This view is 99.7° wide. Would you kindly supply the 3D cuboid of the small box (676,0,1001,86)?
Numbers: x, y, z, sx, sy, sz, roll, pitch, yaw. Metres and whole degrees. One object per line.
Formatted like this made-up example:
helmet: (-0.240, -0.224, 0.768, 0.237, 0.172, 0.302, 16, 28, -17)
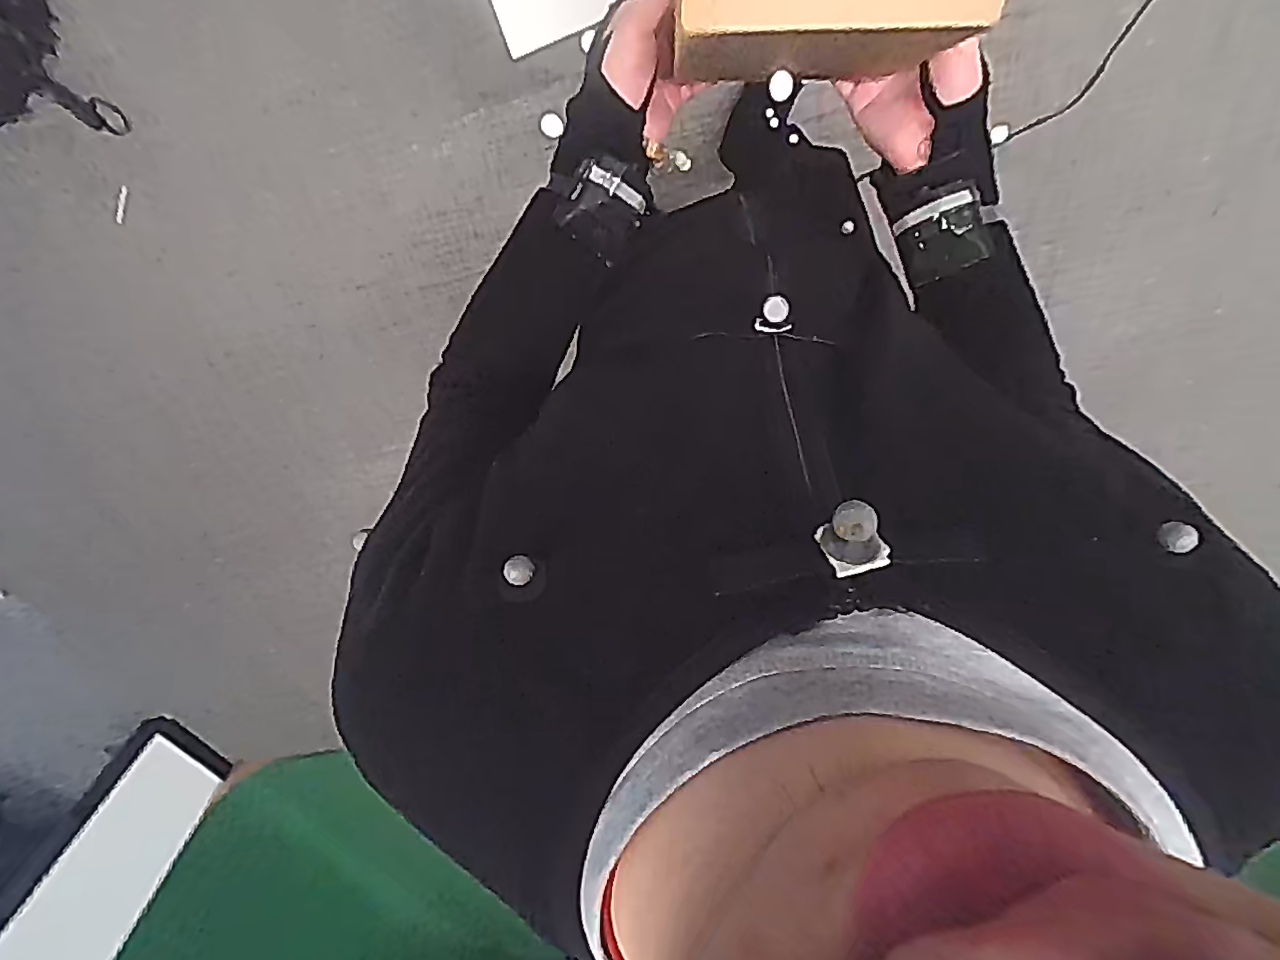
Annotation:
small box: (0.107, -0.352, 0.315, 0.168, 0.176, 0.179, 1, 118, 3)
